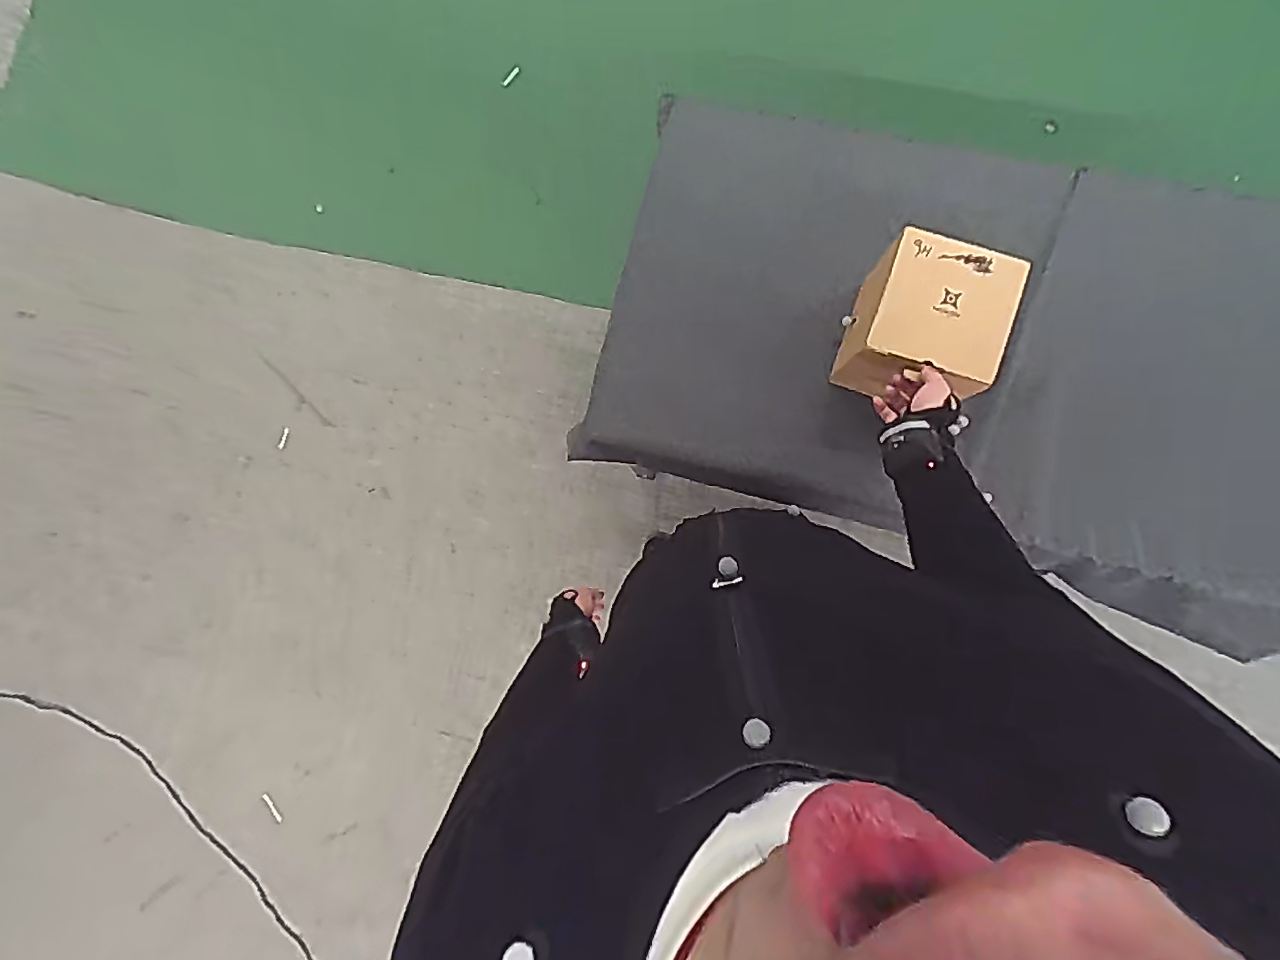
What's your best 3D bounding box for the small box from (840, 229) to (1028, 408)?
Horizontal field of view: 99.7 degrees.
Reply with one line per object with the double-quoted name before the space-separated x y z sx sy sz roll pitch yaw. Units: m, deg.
"small box" 0.404 -0.219 0.776 0.168 0.176 0.179 17 85 7
